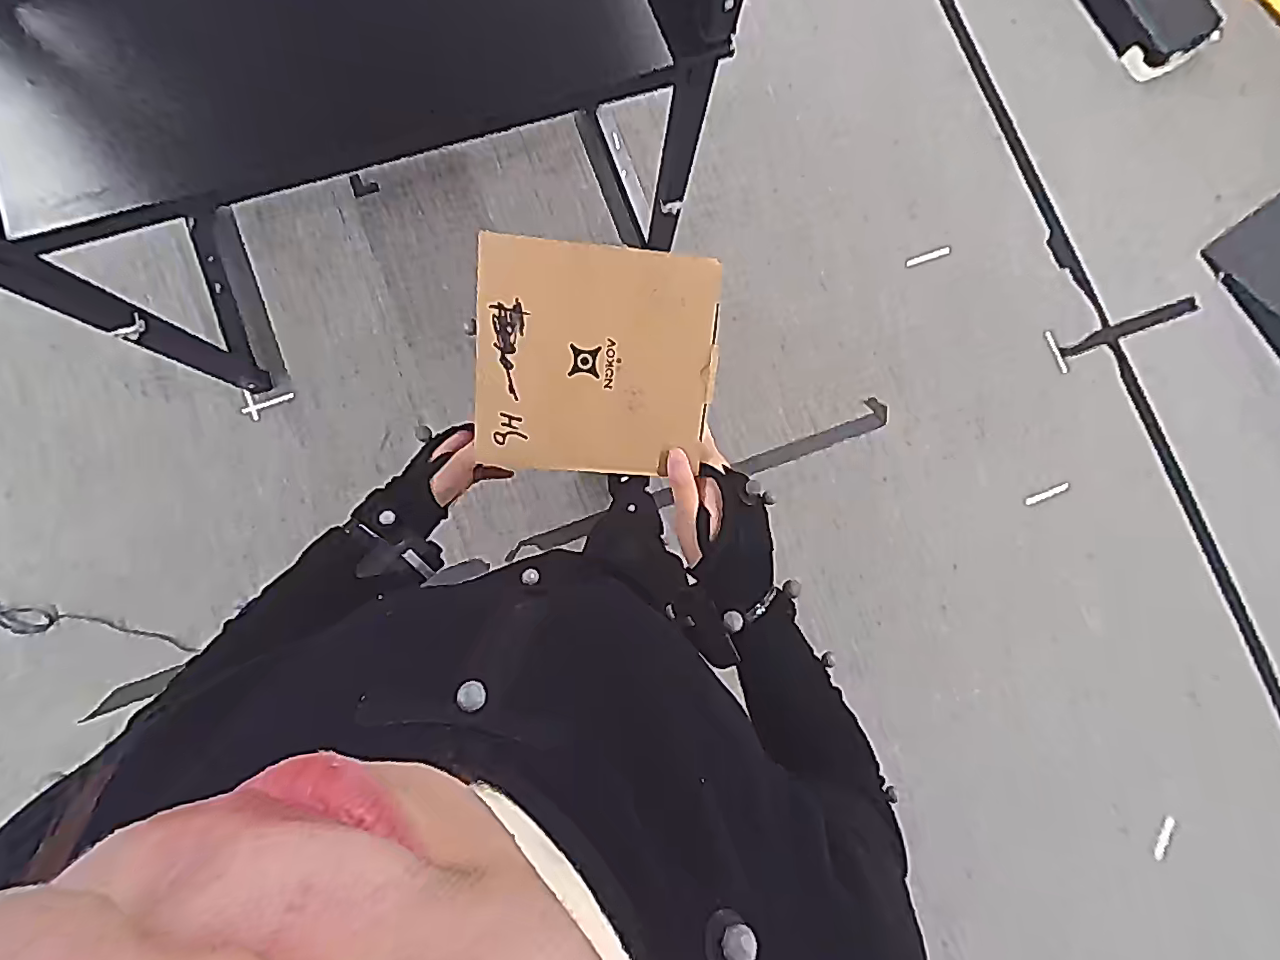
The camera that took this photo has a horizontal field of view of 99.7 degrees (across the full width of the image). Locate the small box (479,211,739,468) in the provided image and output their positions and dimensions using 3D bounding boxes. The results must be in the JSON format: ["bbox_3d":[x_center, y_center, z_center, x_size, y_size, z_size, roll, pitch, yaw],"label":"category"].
[{"bbox_3d":[-0.034,-0.114,0.461,0.179,0.176,0.168,3,105,-8],"label":"small box"}]
